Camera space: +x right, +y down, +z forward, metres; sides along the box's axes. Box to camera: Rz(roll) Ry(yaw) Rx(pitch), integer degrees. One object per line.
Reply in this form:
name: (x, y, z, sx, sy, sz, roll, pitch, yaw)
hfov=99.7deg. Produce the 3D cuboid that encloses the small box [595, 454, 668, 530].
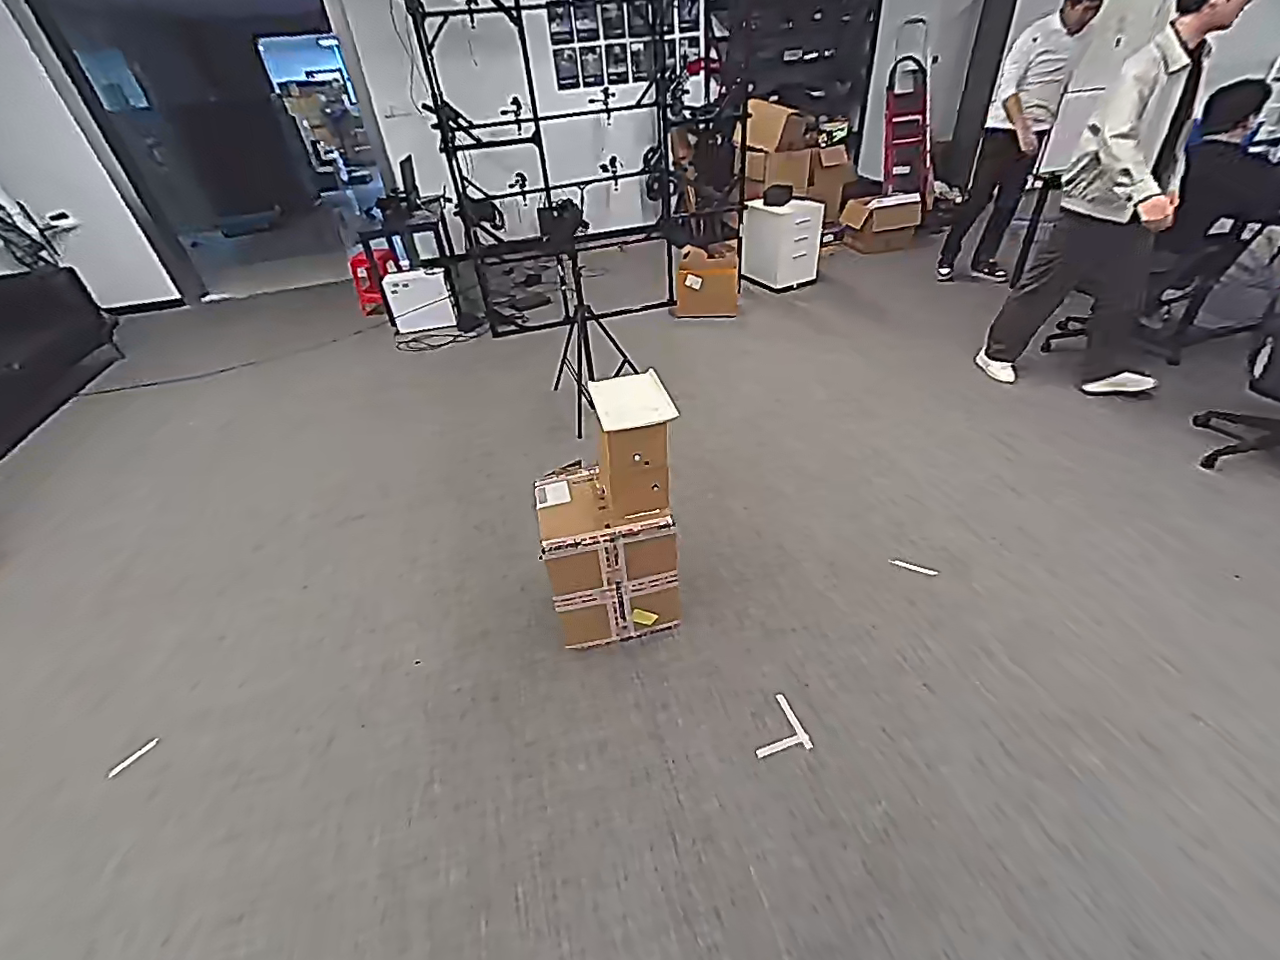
small box: (-0.026, 0.022, 1.594, 0.179, 0.176, 0.168, -13, 39, -12)

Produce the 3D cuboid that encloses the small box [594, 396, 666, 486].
small box: (-0.029, -0.108, 1.494, 0.168, 0.176, 0.179, -10, 39, -10)
